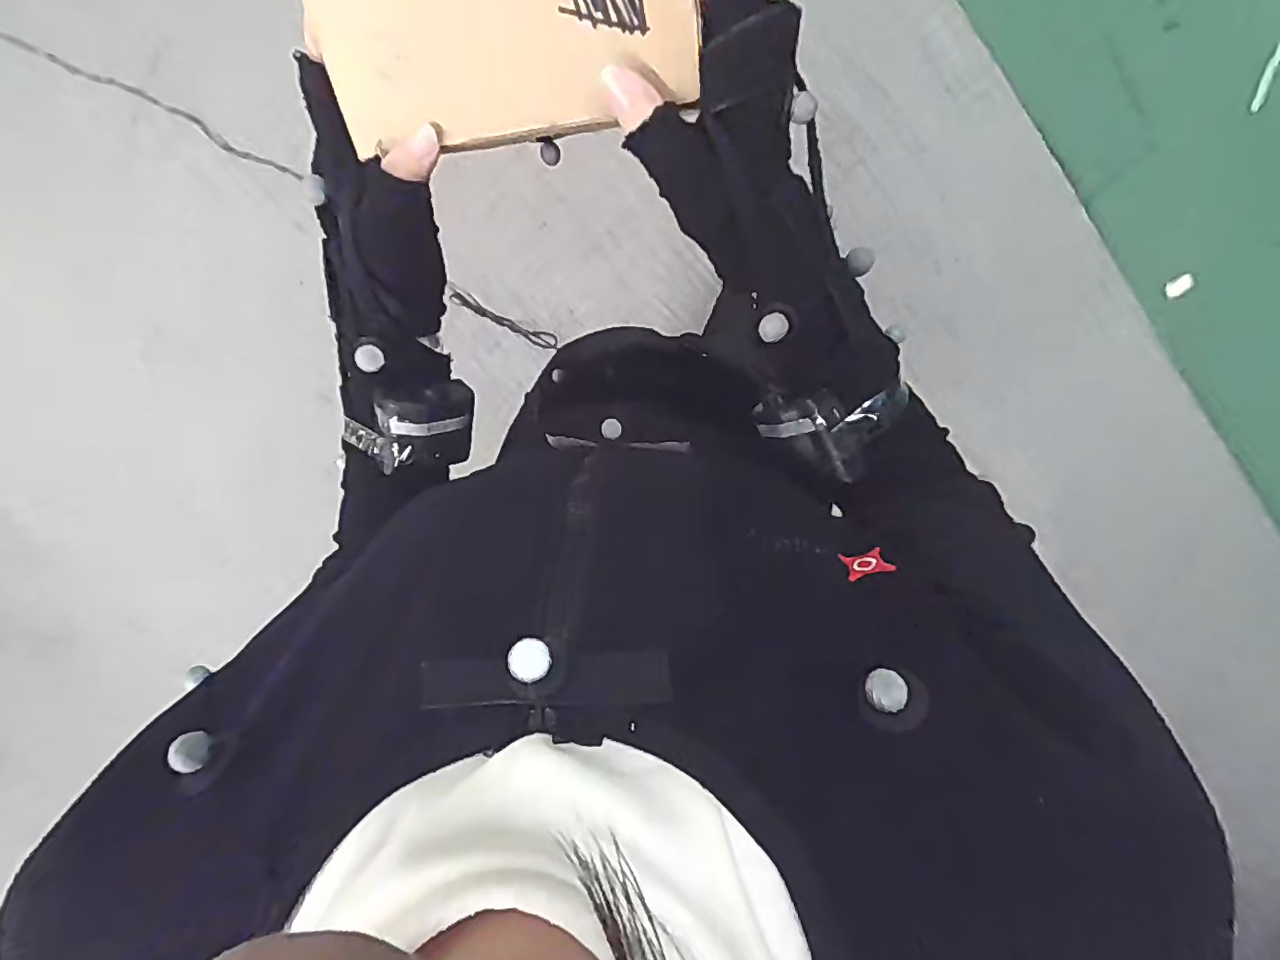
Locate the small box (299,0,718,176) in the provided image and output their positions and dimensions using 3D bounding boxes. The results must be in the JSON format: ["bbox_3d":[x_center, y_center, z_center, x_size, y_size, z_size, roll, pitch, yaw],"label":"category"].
[{"bbox_3d":[-0.058,-0.272,0.278,0.179,0.176,0.168,-7,122,12],"label":"small box"}]
